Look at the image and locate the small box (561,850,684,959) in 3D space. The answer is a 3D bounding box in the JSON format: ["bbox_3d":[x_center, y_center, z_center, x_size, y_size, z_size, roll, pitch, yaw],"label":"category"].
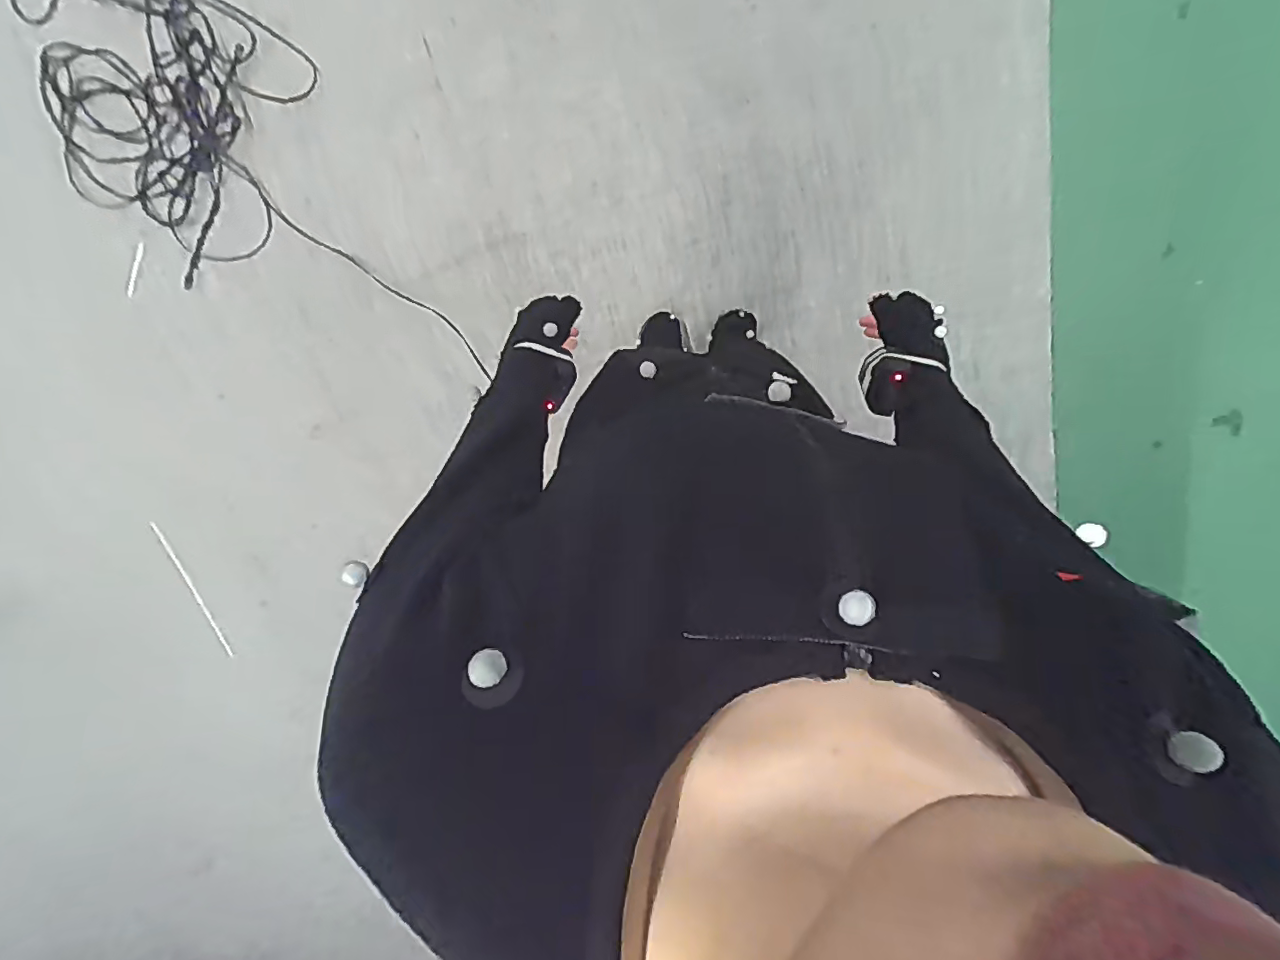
[{"bbox_3d":[-0.021,0.782,0.925,0.168,0.176,0.179,-16,107,6],"label":"small box"}]
